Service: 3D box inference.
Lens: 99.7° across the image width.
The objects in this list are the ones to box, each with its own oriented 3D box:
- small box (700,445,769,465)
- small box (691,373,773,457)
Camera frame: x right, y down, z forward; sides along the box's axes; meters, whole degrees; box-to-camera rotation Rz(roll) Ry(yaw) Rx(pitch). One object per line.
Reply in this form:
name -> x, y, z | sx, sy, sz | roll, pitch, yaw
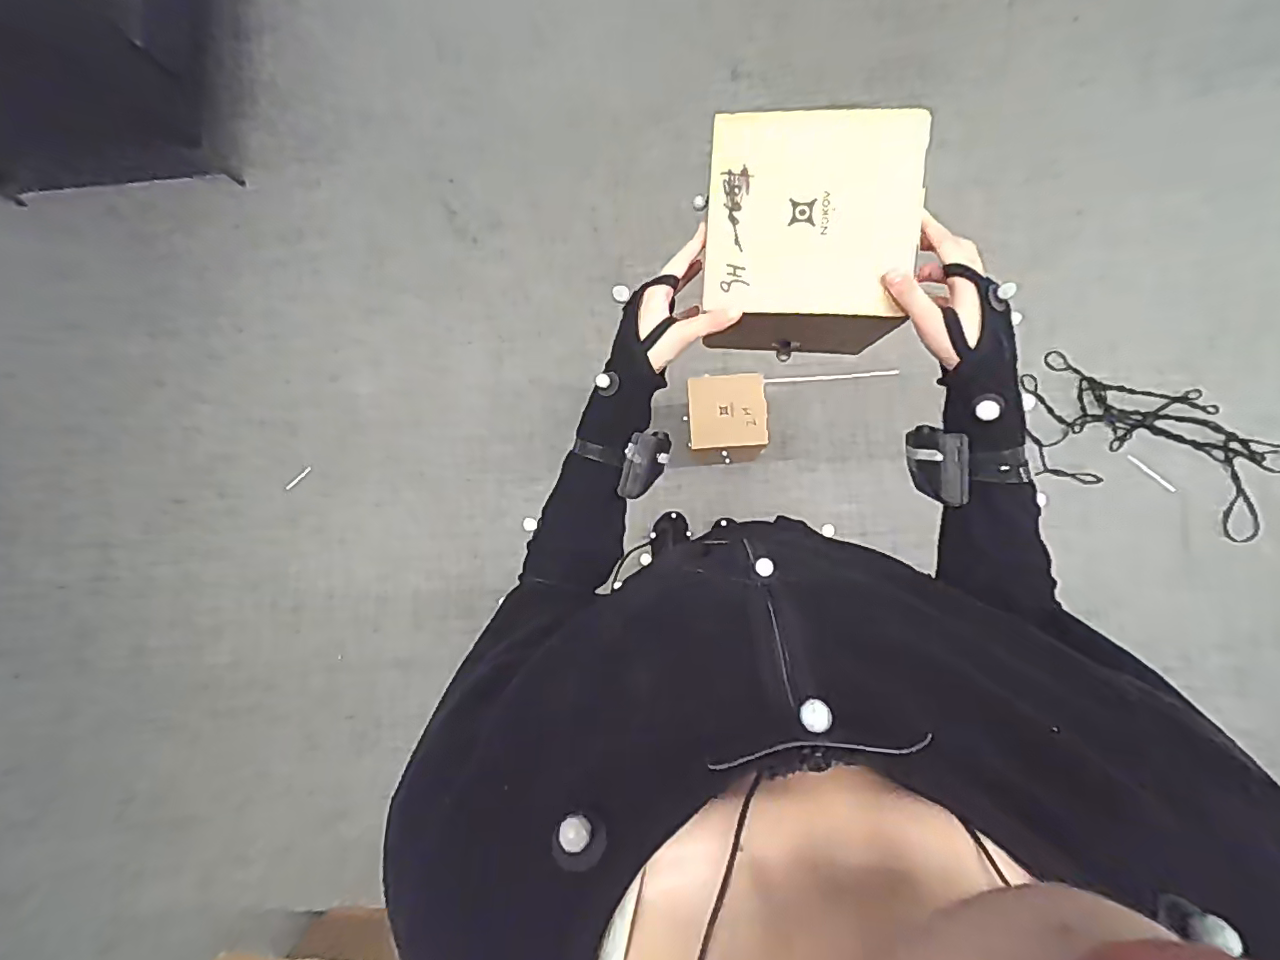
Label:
small box -> 0.245, -0.133, 1.451 | 0.179, 0.176, 0.168 | -3, 84, 6
small box -> 0.216, -0.148, 1.290 | 0.179, 0.176, 0.168 | -3, 85, 6
